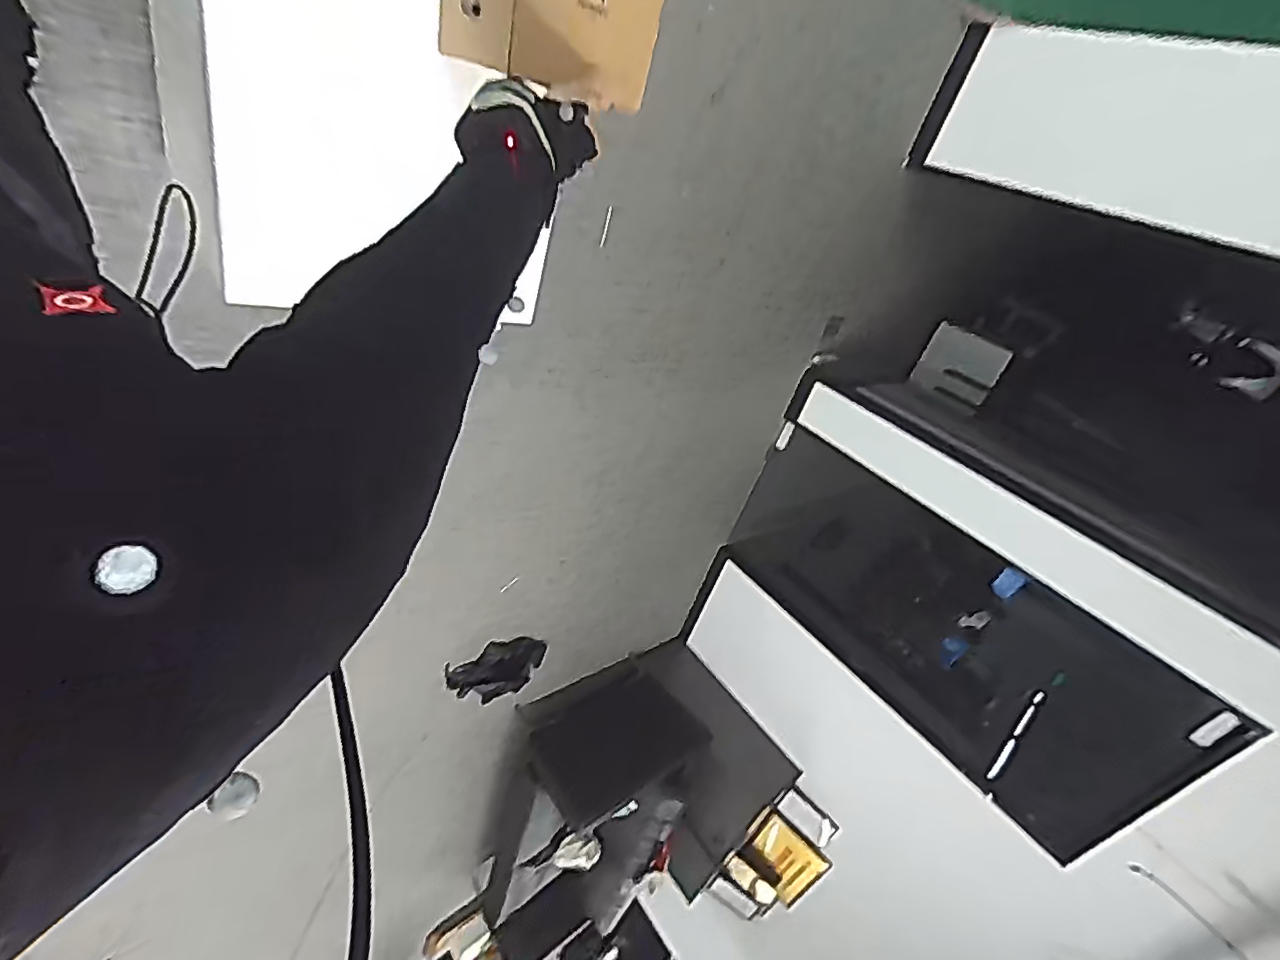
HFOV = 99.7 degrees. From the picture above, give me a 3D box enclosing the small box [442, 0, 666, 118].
[{"bbox_3d":[-0.091,-0.506,0.556,0.168,0.176,0.179,-15,135,-39],"label":"small box"}]
